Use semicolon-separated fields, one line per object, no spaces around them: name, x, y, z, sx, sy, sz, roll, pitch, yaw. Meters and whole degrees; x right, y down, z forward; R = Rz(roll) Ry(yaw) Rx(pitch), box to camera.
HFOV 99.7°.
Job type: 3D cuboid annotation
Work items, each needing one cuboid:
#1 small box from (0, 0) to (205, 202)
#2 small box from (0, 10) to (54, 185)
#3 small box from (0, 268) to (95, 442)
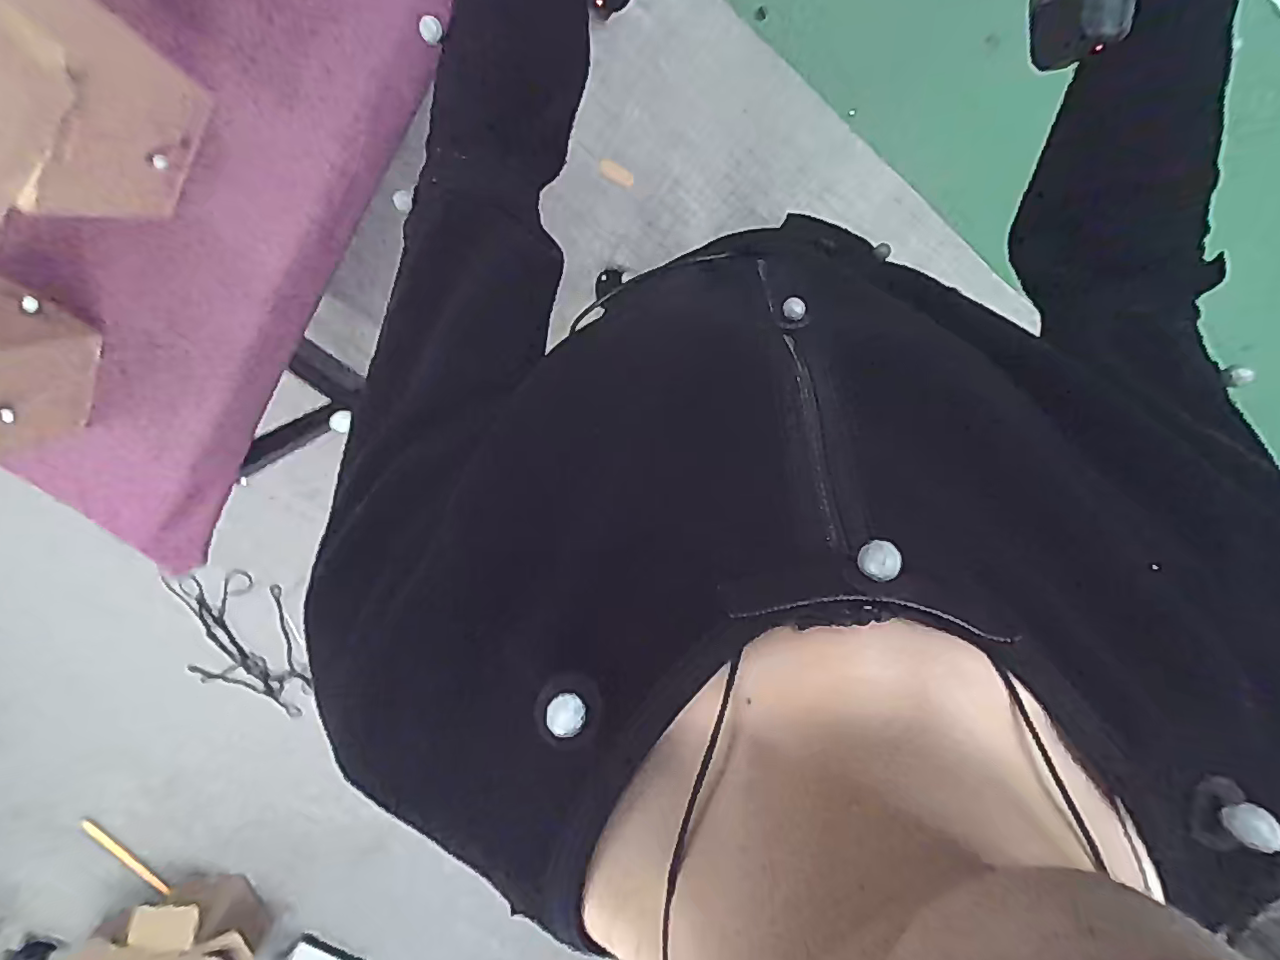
small box;-0.617;-0.412;0.557;0.179;0.176;0.168;39;111;-13
small box;-0.631;-0.335;0.411;0.179;0.176;0.168;-36;107;17
small box;-0.862;-0.156;0.688;0.168;0.176;0.179;32;112;-11
